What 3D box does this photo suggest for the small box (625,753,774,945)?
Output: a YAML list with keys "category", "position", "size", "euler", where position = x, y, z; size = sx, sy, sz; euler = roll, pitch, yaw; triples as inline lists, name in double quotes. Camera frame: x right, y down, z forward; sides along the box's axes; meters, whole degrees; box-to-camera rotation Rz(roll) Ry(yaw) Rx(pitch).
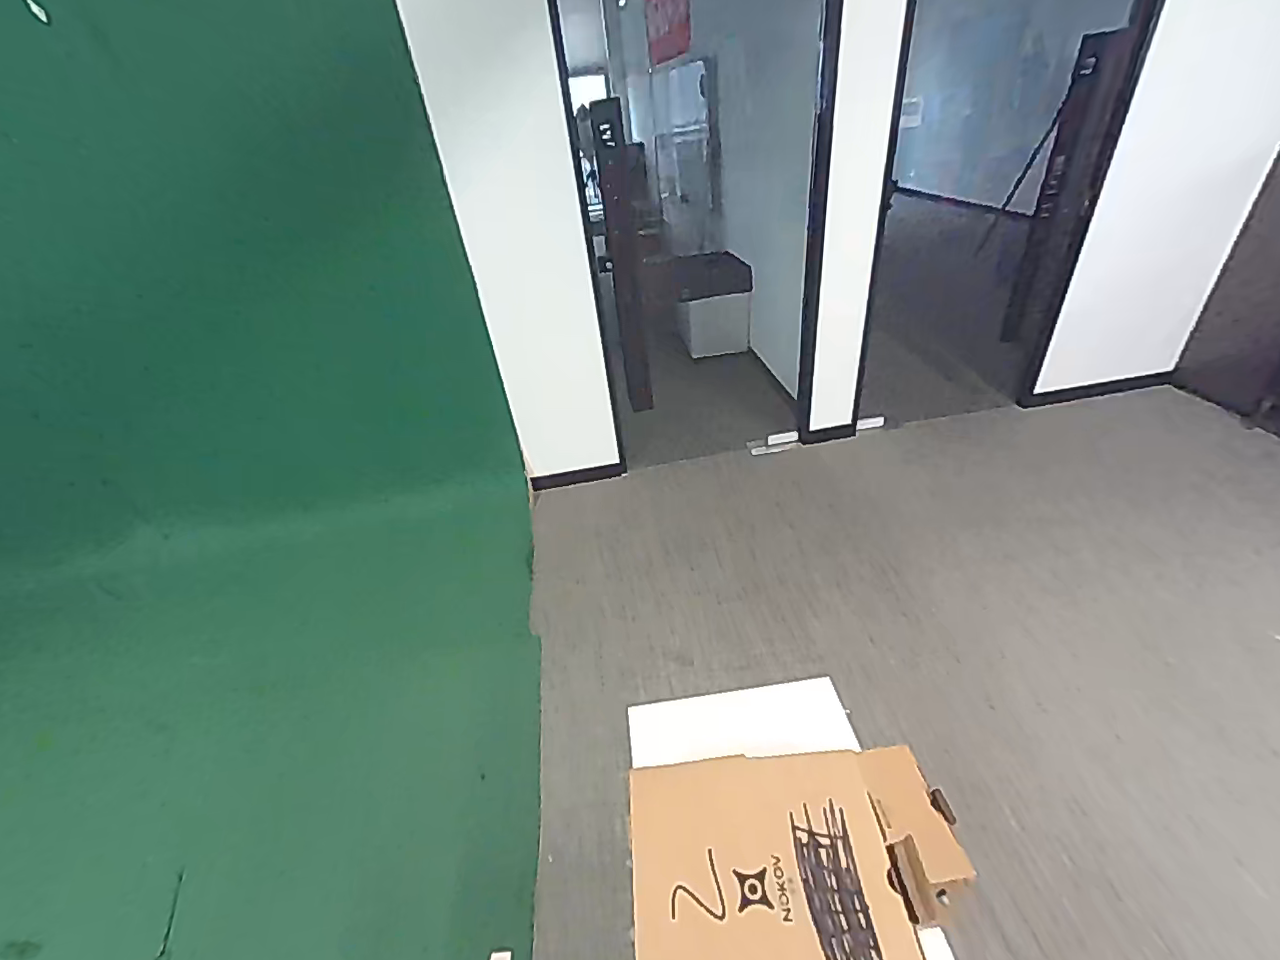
- category: "small box"
  position: [0.080, 0.519, 0.761]
  size: [0.179, 0.176, 0.168]
  euler: [-8, 35, -2]
